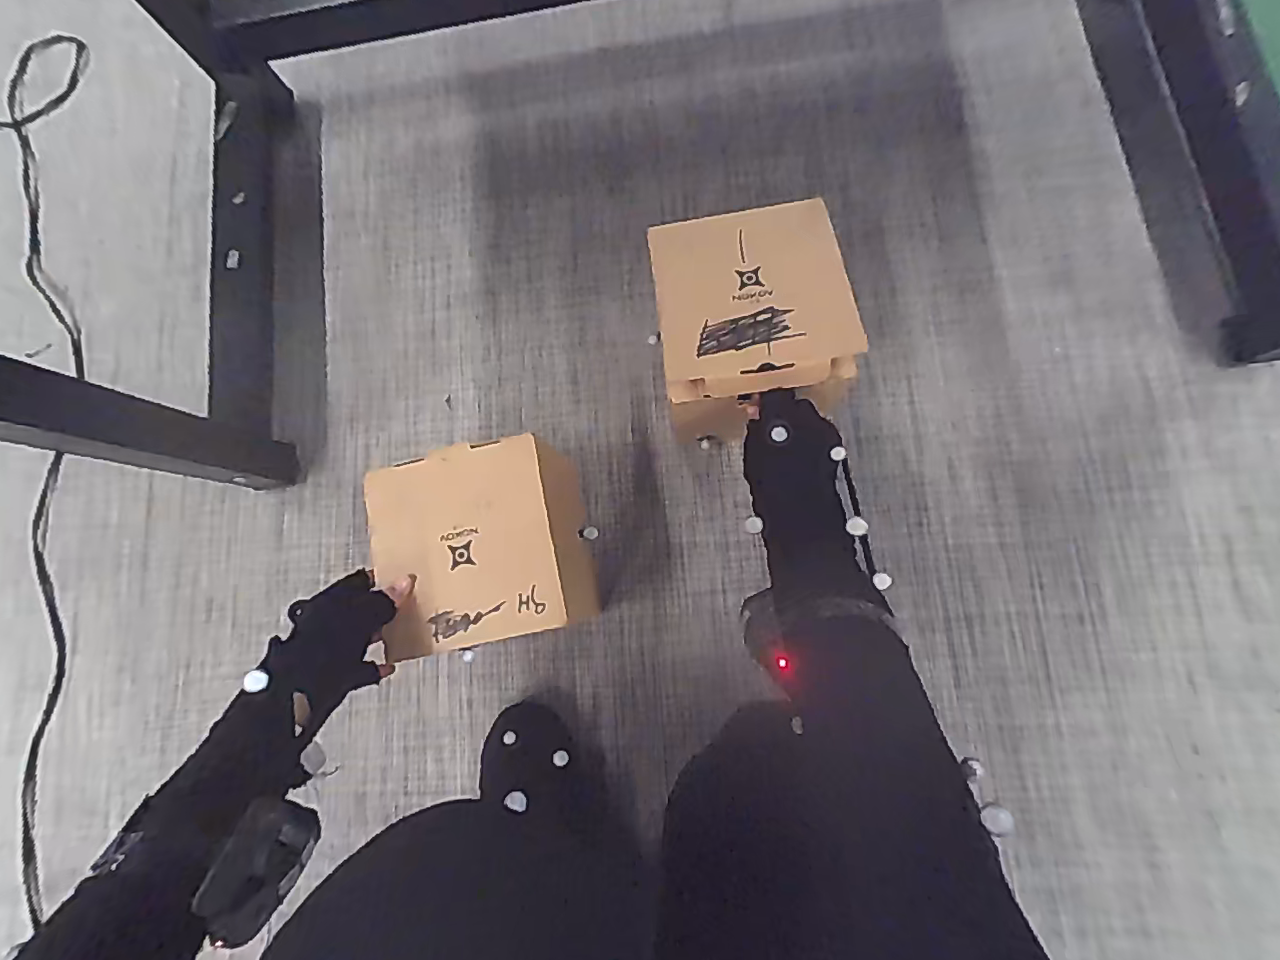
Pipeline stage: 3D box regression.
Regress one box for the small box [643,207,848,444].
[{"bbox_3d":[0.101,-0.143,0.566,0.168,0.176,0.179,-8,78,5],"label":"small box"}]
